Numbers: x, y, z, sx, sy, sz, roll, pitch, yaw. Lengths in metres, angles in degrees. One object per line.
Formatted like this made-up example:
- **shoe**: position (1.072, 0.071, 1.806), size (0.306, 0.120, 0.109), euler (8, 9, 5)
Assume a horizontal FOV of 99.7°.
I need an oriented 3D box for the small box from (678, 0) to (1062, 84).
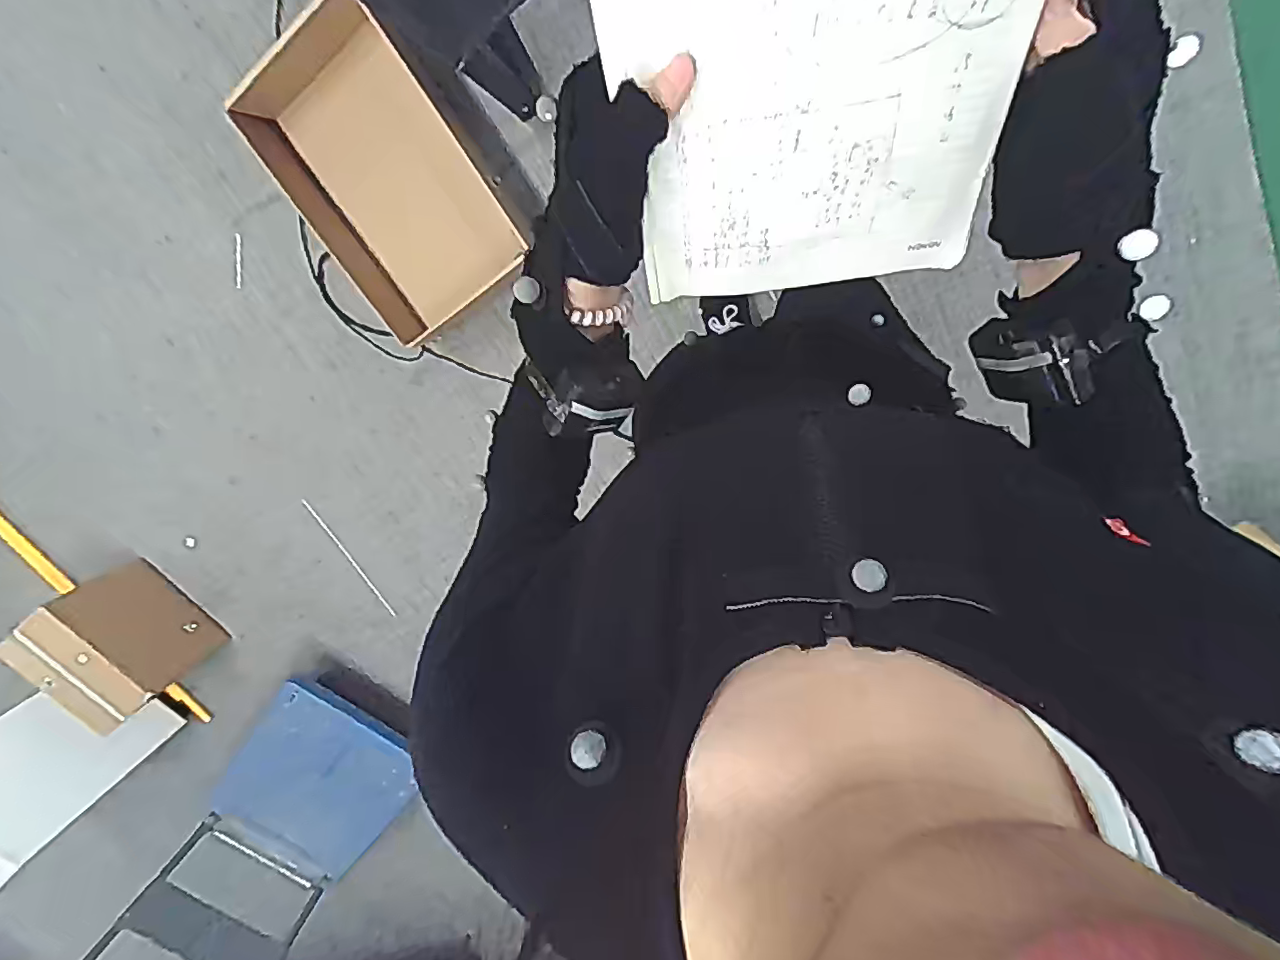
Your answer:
- **small box**: position (0.109, -0.314, 0.284), size (0.179, 0.176, 0.168), euler (-1, 126, 4)
